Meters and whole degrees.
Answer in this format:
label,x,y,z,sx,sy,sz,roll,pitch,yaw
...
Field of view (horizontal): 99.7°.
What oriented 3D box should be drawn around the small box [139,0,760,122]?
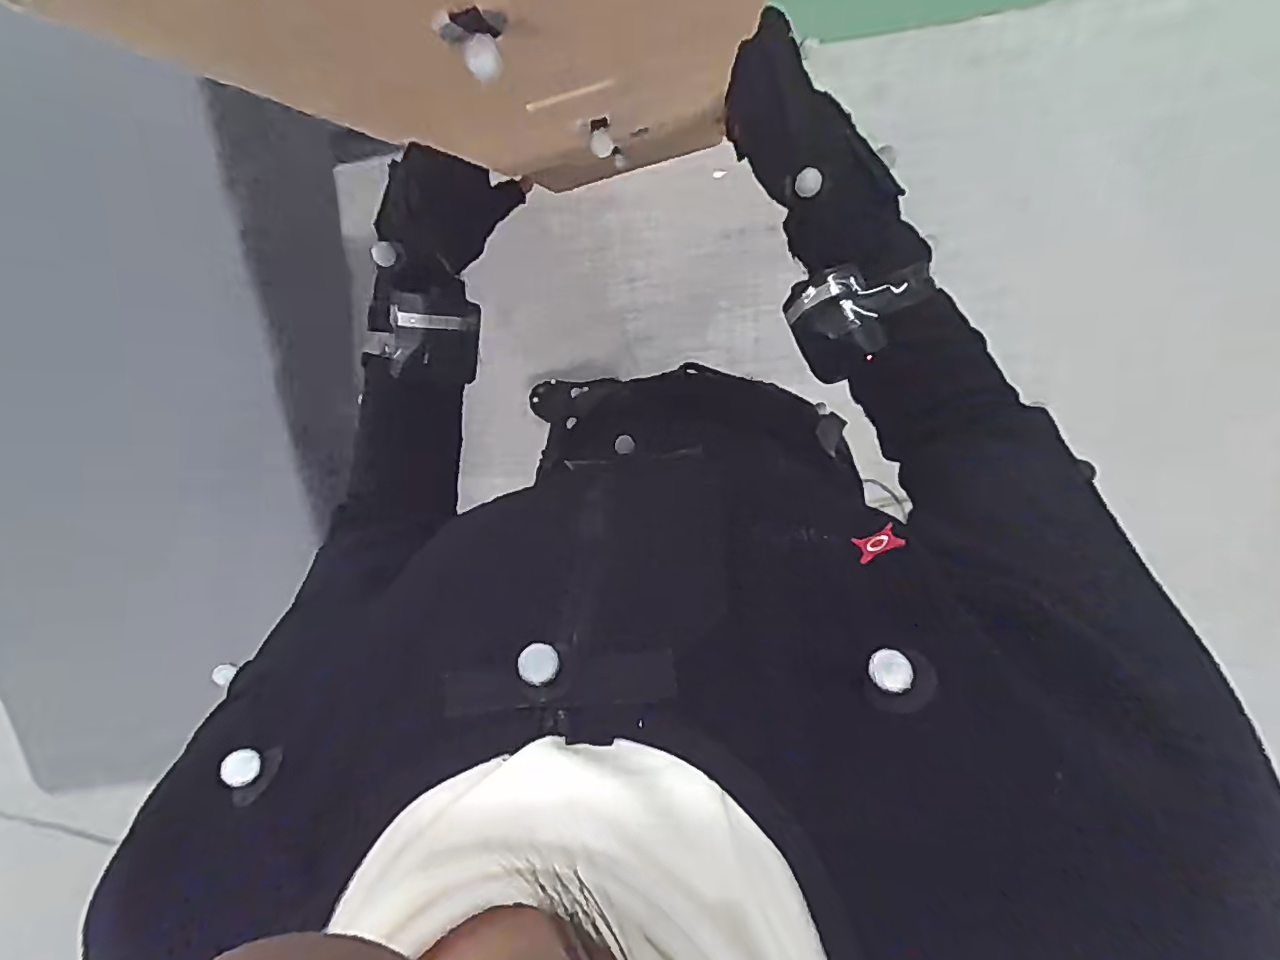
label,x,y,z,sx,sy,sz,roll,pitch,yaw
small box,-0.048,-0.228,0.150,0.179,0.176,0.168,-8,111,10
